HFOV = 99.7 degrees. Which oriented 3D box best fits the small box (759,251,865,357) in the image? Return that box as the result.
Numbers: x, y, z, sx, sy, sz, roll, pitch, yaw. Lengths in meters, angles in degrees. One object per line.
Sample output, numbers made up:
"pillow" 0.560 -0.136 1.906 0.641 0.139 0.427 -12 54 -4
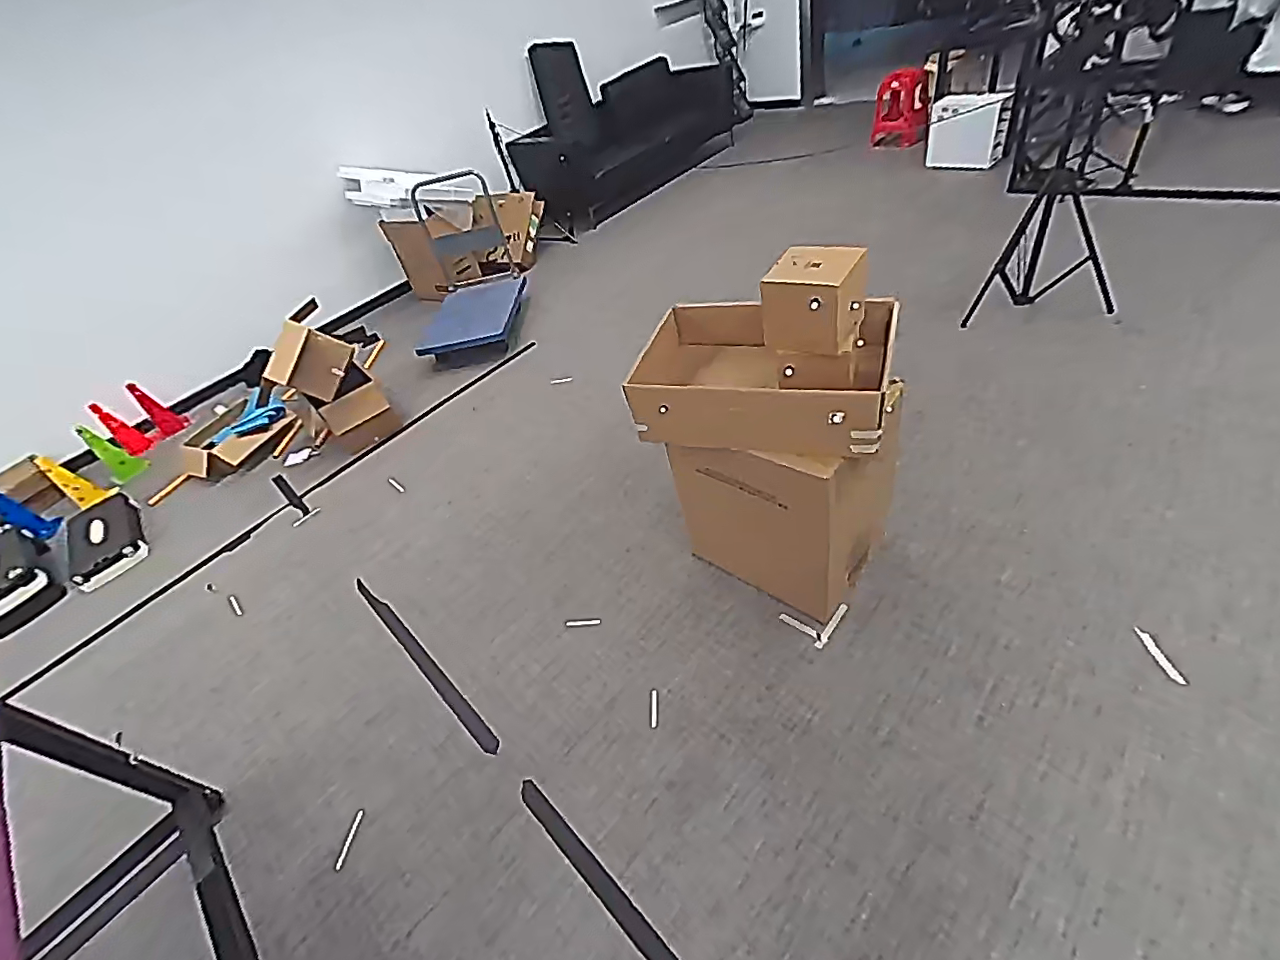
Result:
"small box" 0.390 -0.395 1.219 0.179 0.176 0.168 17 53 34
